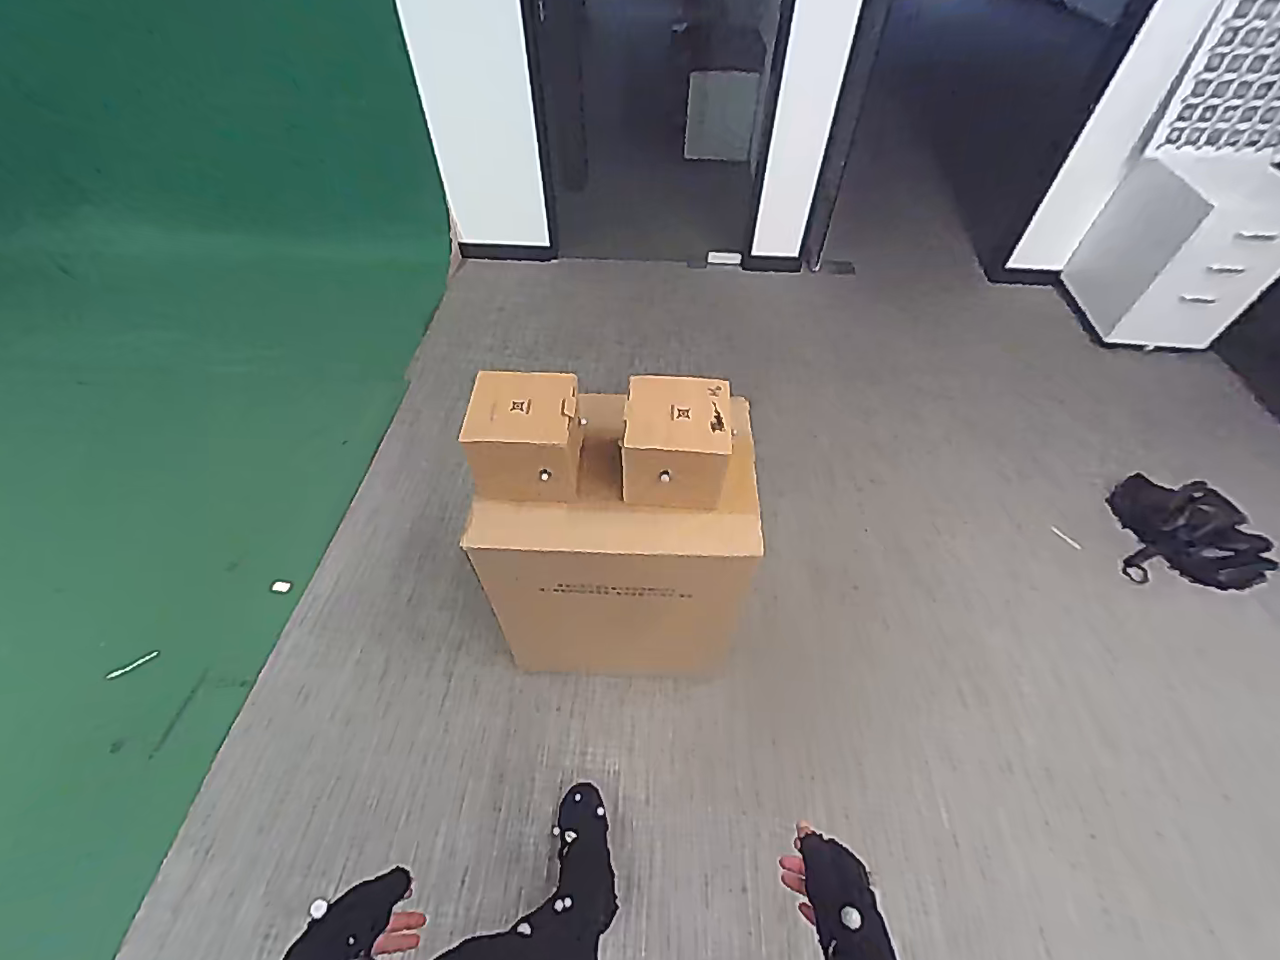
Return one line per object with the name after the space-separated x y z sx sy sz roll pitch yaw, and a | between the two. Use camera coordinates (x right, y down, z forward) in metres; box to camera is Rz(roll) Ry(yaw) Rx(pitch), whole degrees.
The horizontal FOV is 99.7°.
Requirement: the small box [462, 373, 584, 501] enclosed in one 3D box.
-0.198 -0.074 0.976 0.179 0.176 0.168 1 54 1 | small box

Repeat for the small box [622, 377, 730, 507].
0.064 -0.064 0.971 0.179 0.176 0.168 3 55 2 | small box
